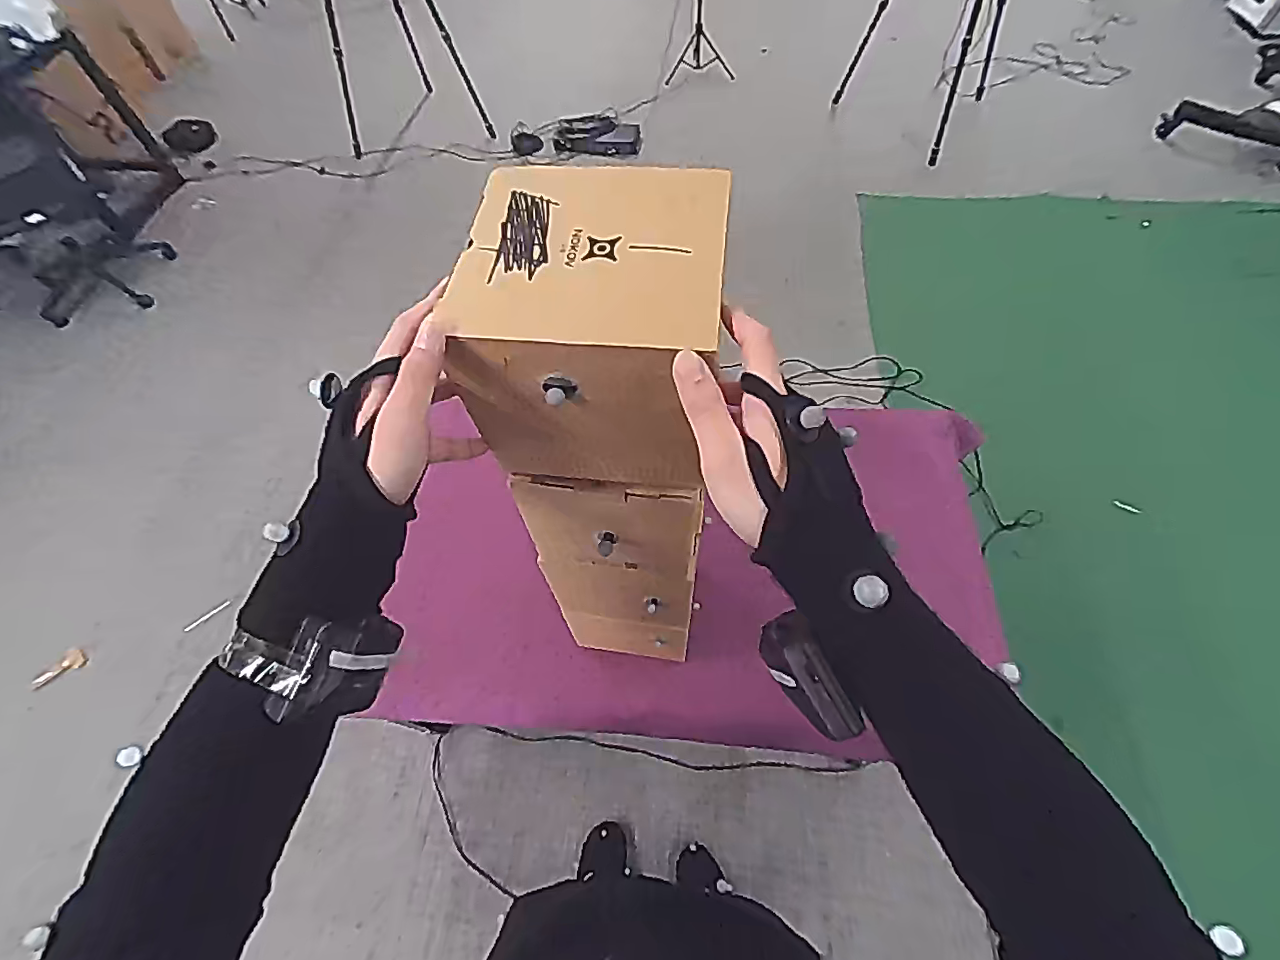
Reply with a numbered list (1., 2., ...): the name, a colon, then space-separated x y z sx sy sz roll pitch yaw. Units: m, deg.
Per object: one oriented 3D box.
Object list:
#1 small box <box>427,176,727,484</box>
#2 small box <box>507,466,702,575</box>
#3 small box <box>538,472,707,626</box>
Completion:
1. small box: -0.028 -0.109 0.424 0.179 0.176 0.168 4 61 7
2. small box: -0.019 -0.016 0.569 0.168 0.176 0.179 7 58 7
3. small box: -0.013 0.079 0.702 0.179 0.176 0.168 6 57 8
